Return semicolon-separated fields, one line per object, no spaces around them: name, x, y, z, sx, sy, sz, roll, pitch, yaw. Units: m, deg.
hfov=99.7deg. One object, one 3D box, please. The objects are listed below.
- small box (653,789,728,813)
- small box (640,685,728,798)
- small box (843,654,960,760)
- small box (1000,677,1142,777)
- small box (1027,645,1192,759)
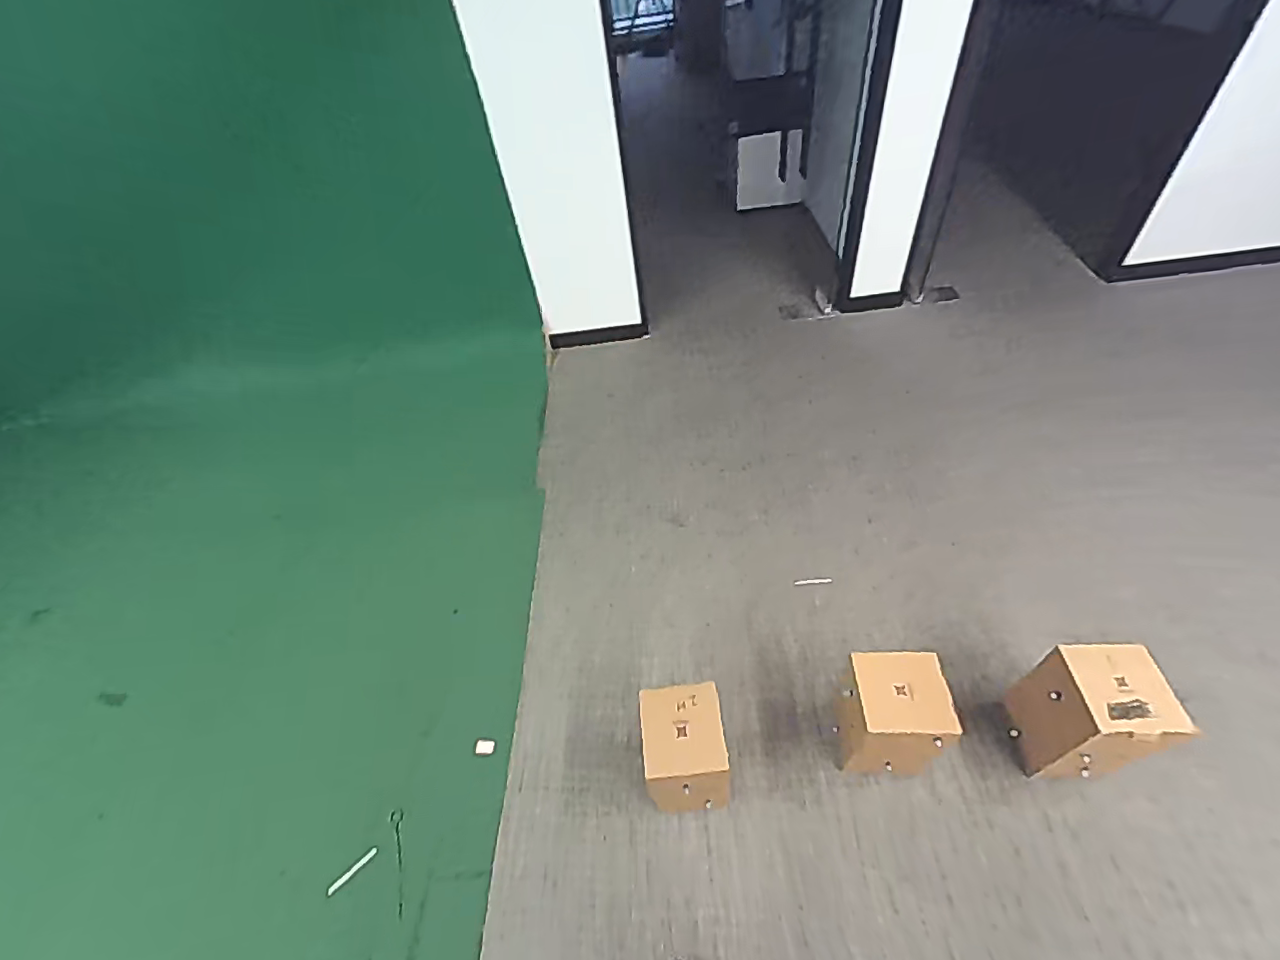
small box;0.116;0.672;1.277;0.168;0.176;0.179;-6;47;3
small box;0.094;0.563;1.155;0.168;0.176;0.179;-7;47;2
small box;0.541;0.485;1.152;0.179;0.176;0.168;-3;47;7
small box;0.965;0.565;1.232;0.168;0.176;0.179;-4;48;6
small box;0.943;0.458;1.108;0.168;0.176;0.179;-3;47;7
